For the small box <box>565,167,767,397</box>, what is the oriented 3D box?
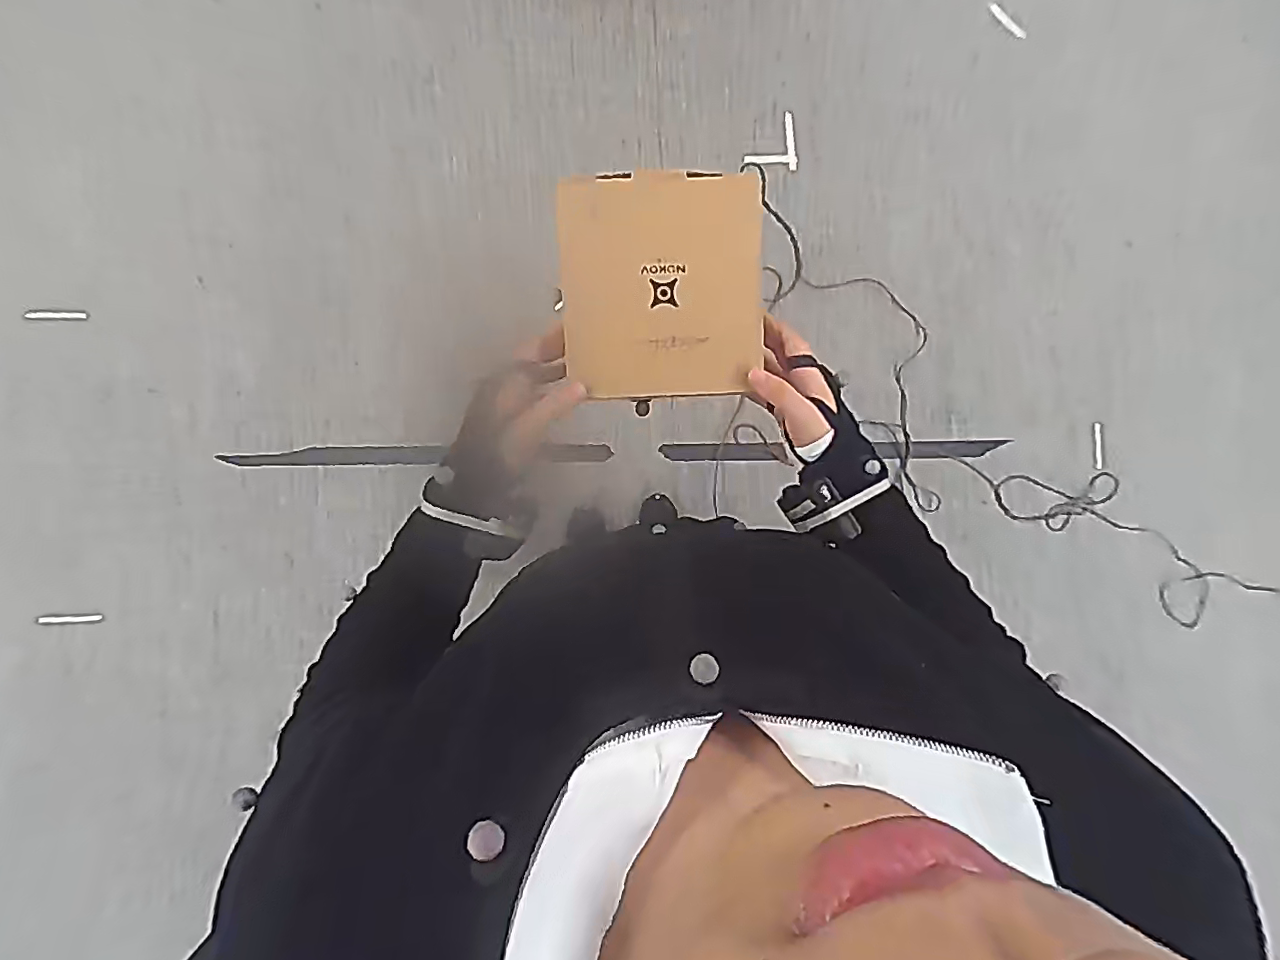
[{"bbox_3d":[0.017,-0.172,0.519,0.168,0.176,0.179,-3,99,-3],"label":"small box"}]
